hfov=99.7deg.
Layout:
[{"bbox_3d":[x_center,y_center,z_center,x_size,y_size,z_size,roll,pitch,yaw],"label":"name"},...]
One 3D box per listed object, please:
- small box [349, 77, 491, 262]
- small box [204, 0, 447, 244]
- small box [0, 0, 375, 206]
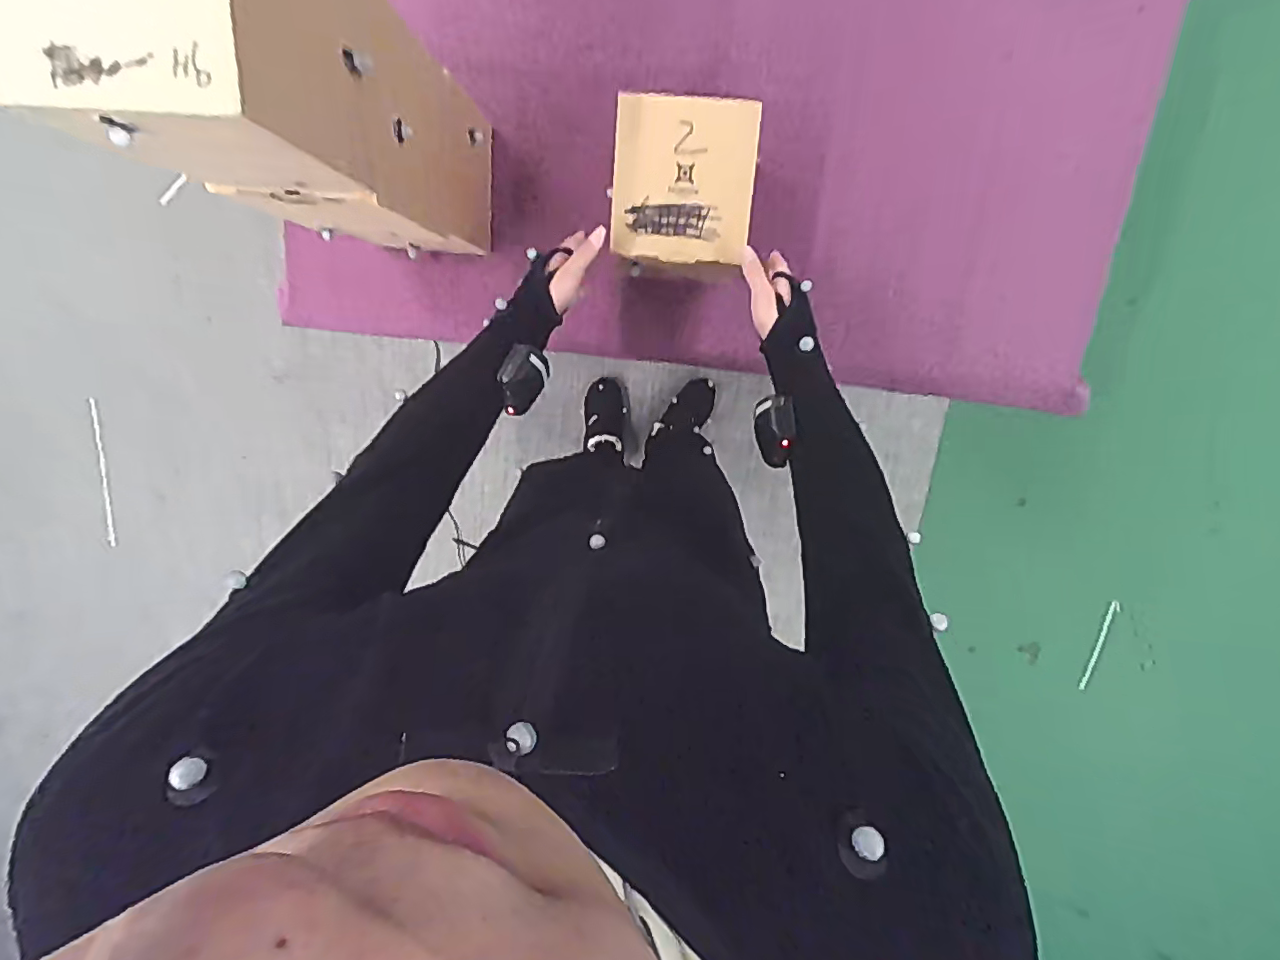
[{"bbox_3d":[-0.303,-0.399,0.713,0.168,0.176,0.179,5,104,1],"label":"small box"},{"bbox_3d":[-0.310,-0.353,0.556,0.168,0.176,0.179,5,102,2],"label":"small box"},{"bbox_3d":[-0.316,-0.323,0.395,0.168,0.176,0.179,4,102,2],"label":"small box"}]
